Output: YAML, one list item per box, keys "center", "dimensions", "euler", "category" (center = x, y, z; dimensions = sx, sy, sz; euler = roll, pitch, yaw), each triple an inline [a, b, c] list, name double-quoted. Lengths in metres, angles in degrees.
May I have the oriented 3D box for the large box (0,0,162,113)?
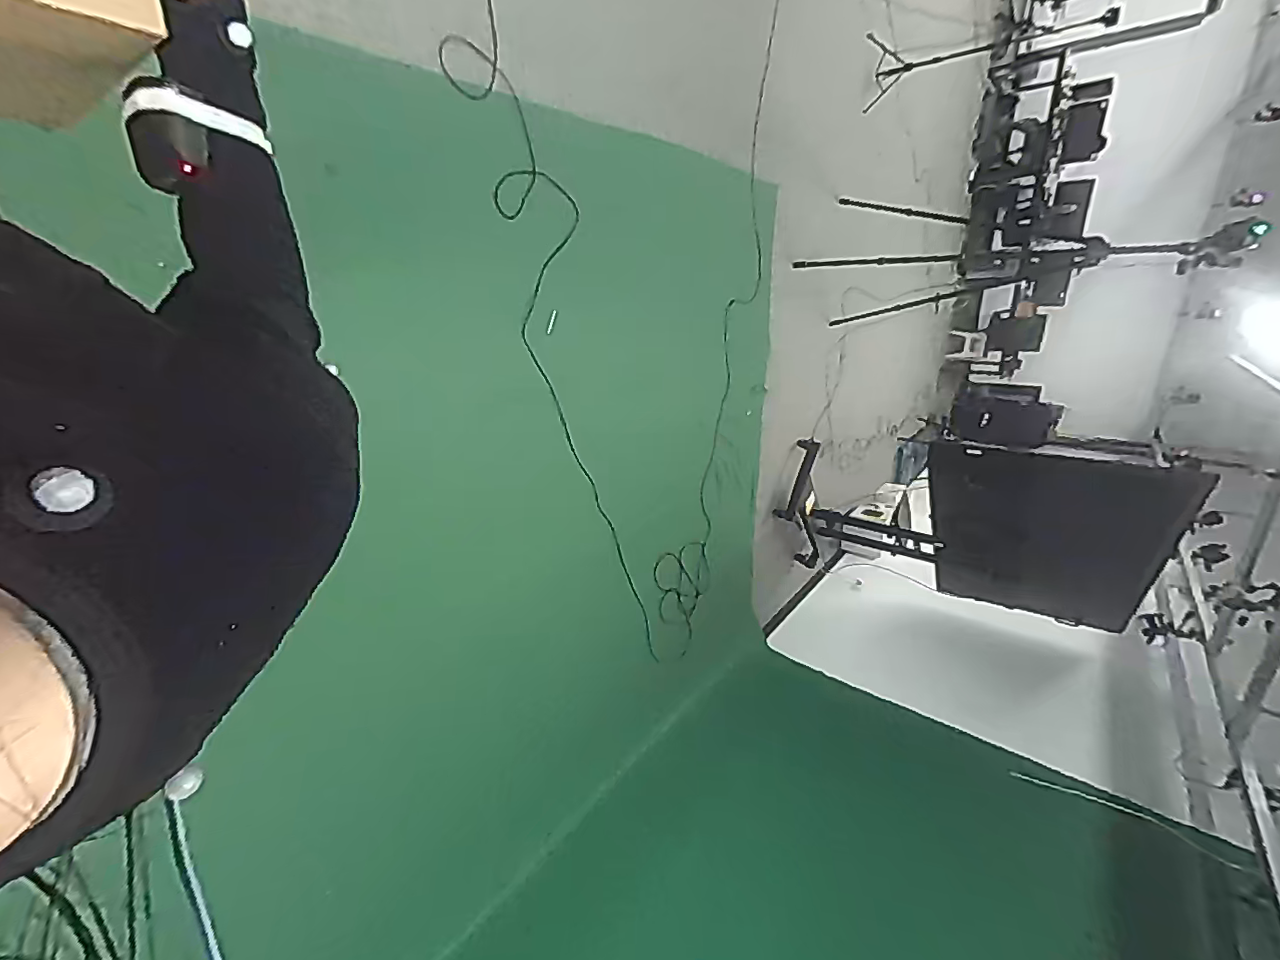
- center: [-0.594, -0.439, 0.287]
  dimensions: [0.408, 0.320, 0.320]
  euler: [-26, 119, -49]
  category: "large box"
